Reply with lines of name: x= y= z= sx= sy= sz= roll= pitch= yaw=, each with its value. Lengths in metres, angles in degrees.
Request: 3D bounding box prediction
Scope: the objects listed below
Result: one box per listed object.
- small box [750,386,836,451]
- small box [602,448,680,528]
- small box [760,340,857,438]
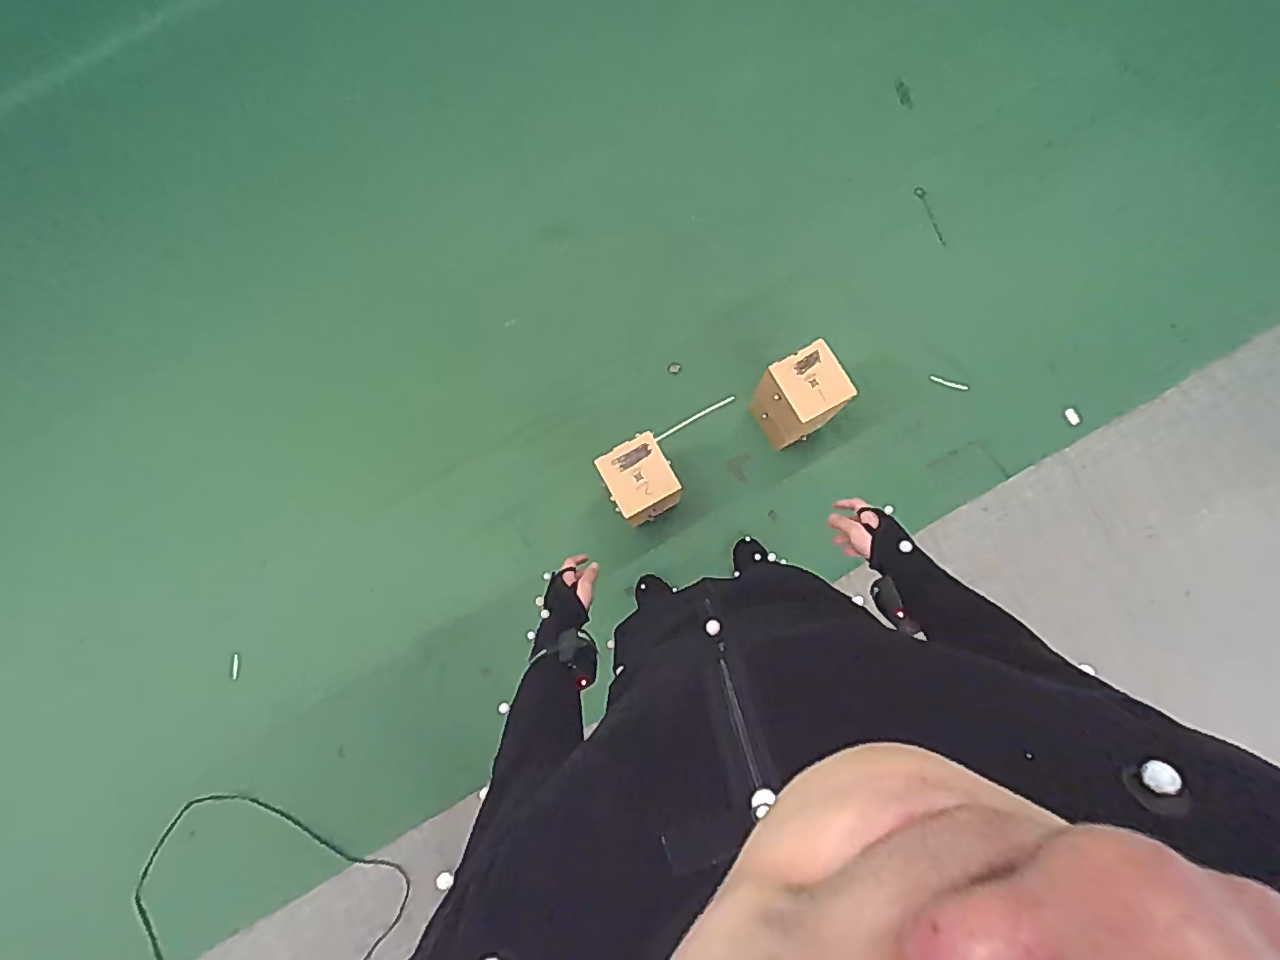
small box: x=0.447 y=-0.210 z=1.616 sx=0.168 sy=0.176 sz=0.179 roll=-28 pitch=81 yaw=-3
small box: x=0.008 y=0.032 z=1.598 sx=0.168 sy=0.176 sz=0.179 roll=-30 pitch=80 yaw=-2
small box: x=0.442 y=-0.238 z=1.455 sx=0.168 sy=0.176 sz=0.179 roll=-29 pitch=81 yaw=-3
